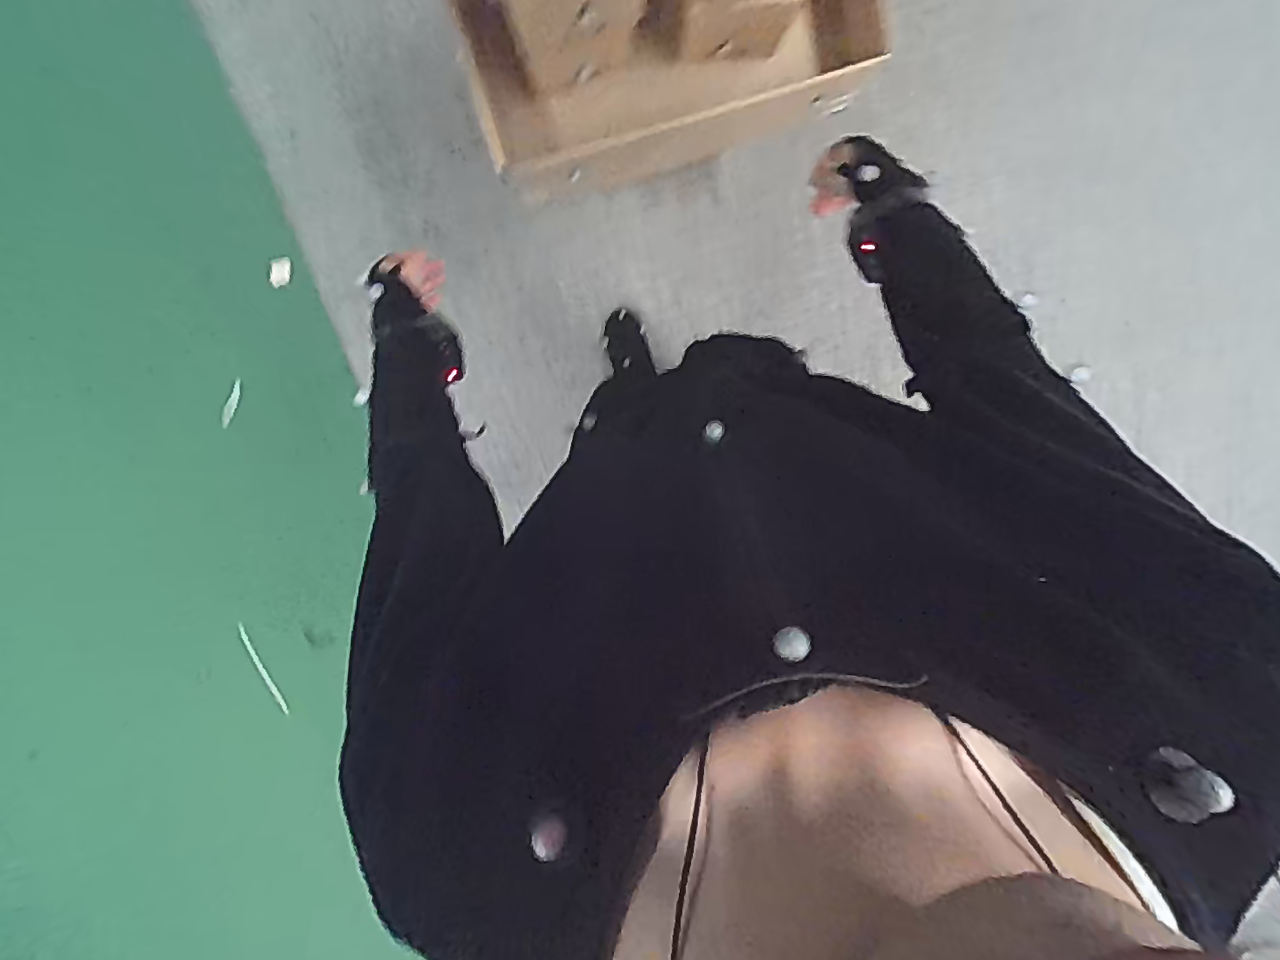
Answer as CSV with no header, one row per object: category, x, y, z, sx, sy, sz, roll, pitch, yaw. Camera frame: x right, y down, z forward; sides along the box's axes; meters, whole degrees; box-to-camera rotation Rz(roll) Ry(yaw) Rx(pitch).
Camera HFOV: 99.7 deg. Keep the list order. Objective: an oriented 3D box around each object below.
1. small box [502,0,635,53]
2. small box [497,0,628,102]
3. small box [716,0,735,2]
small box,-0.105,-0.659,0.649,0.168,0.176,0.179,-19,106,2
small box,-0.125,-0.713,0.803,0.168,0.176,0.179,-20,105,3
small box,0.155,-0.721,0.646,0.168,0.176,0.179,-11,106,0
